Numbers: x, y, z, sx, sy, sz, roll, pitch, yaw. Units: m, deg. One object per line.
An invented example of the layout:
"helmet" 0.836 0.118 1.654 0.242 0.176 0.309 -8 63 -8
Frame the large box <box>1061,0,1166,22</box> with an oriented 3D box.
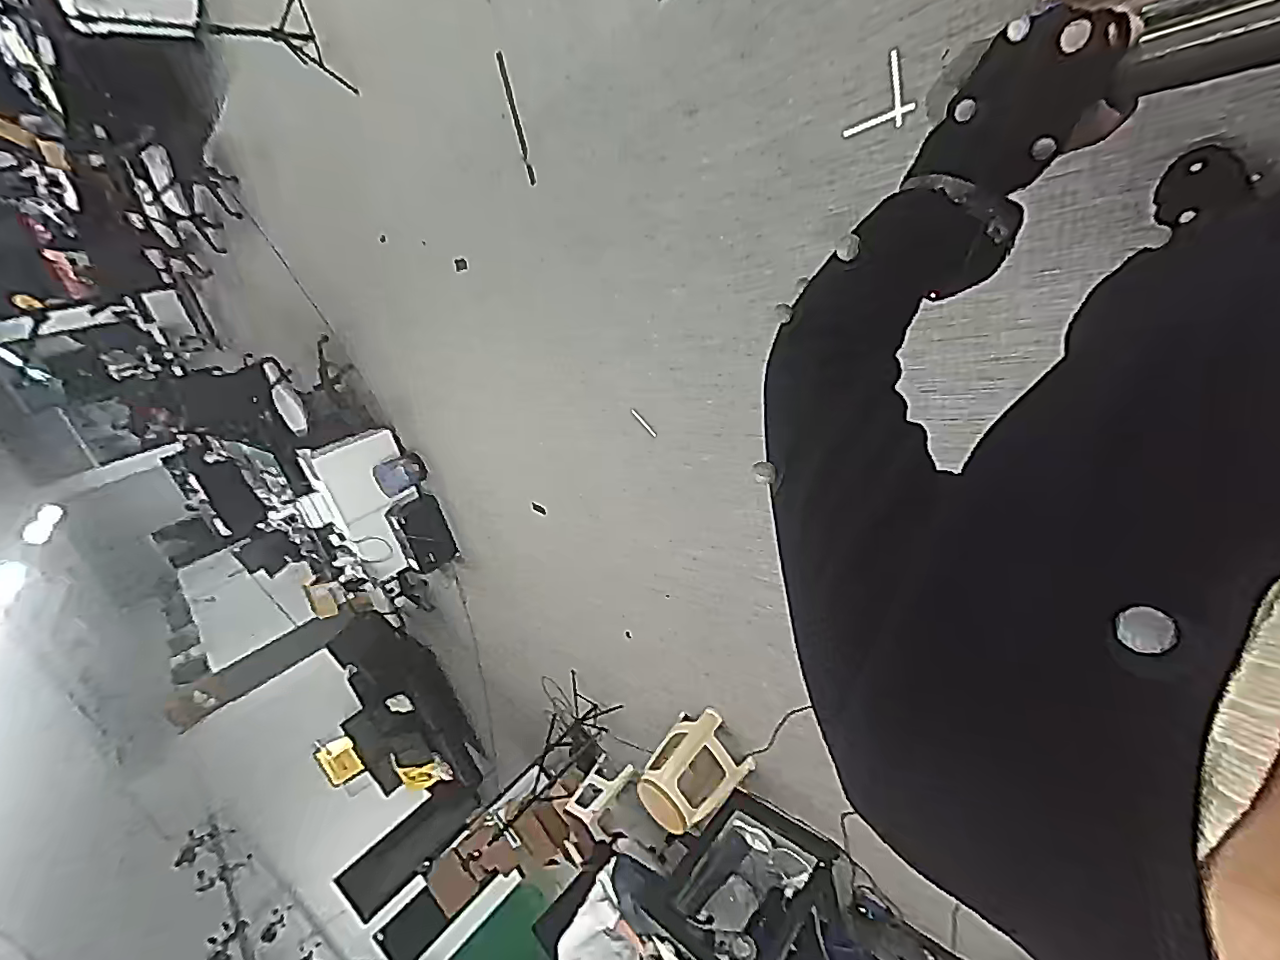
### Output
"large box" 0.668 -0.704 0.501 0.408 0.320 0.320 13 125 41
